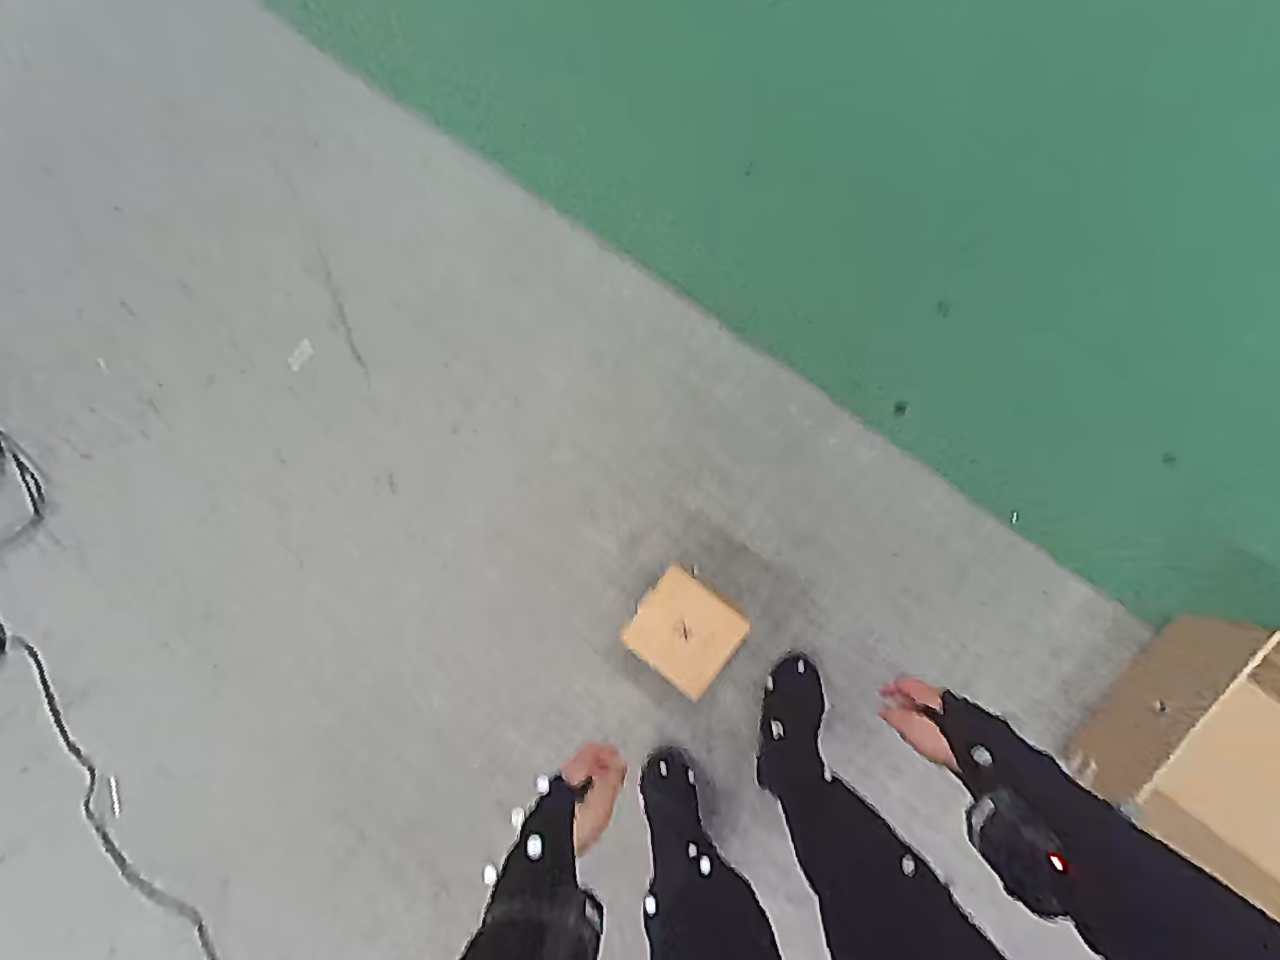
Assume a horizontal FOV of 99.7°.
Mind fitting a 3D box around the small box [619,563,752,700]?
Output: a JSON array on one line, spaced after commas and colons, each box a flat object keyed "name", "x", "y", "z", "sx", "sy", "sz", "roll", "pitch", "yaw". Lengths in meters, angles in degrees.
[{"name": "small box", "x": 0.087, "y": 0.272, "z": 1.022, "sx": 0.179, "sy": 0.176, "sz": 0.168, "roll": 36, "pitch": 93, "yaw": 7}]
